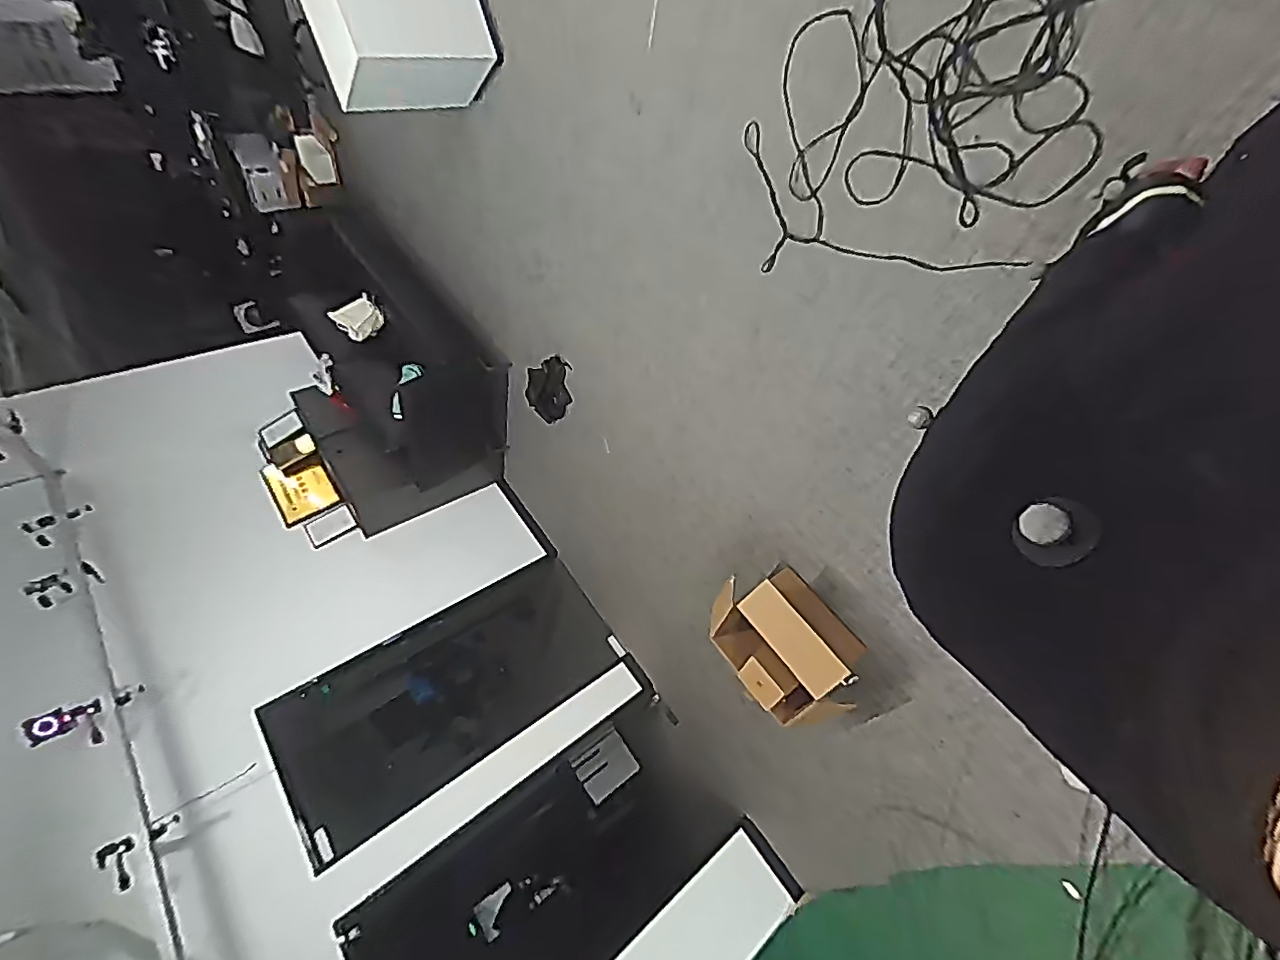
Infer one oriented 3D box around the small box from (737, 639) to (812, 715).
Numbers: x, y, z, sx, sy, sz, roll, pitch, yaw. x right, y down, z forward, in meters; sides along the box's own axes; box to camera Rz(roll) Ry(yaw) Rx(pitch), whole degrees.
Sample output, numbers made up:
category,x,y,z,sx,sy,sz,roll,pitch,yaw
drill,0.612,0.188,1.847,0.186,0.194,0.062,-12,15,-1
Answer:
category,x,y,z,sx,sy,sz,roll,pitch,yaw
small box,0.488,0.711,1.958,0.168,0.176,0.179,48,144,27
